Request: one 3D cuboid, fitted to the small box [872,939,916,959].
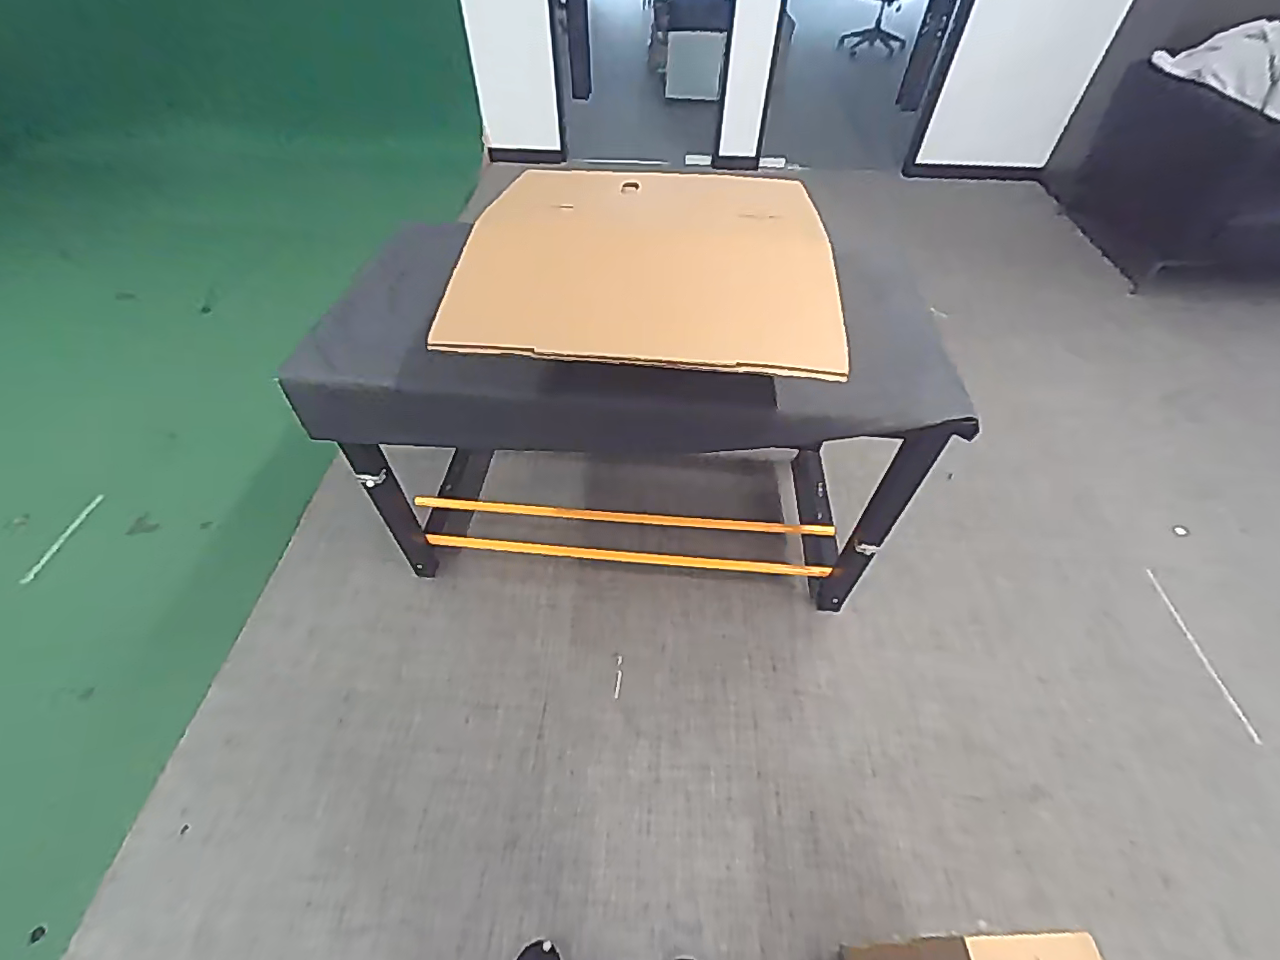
[{"bbox_3d":[0.478,0.791,0.803,0.179,0.176,0.168,-2,49,-2],"label":"small box"}]

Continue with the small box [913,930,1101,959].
[{"bbox_3d":[0.480,0.682,0.680,0.168,0.176,0.179,0,48,-2],"label":"small box"}]

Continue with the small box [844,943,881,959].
[{"bbox_3d":[0.469,0.905,0.921,0.168,0.176,0.179,-1,49,-2],"label":"small box"}]
